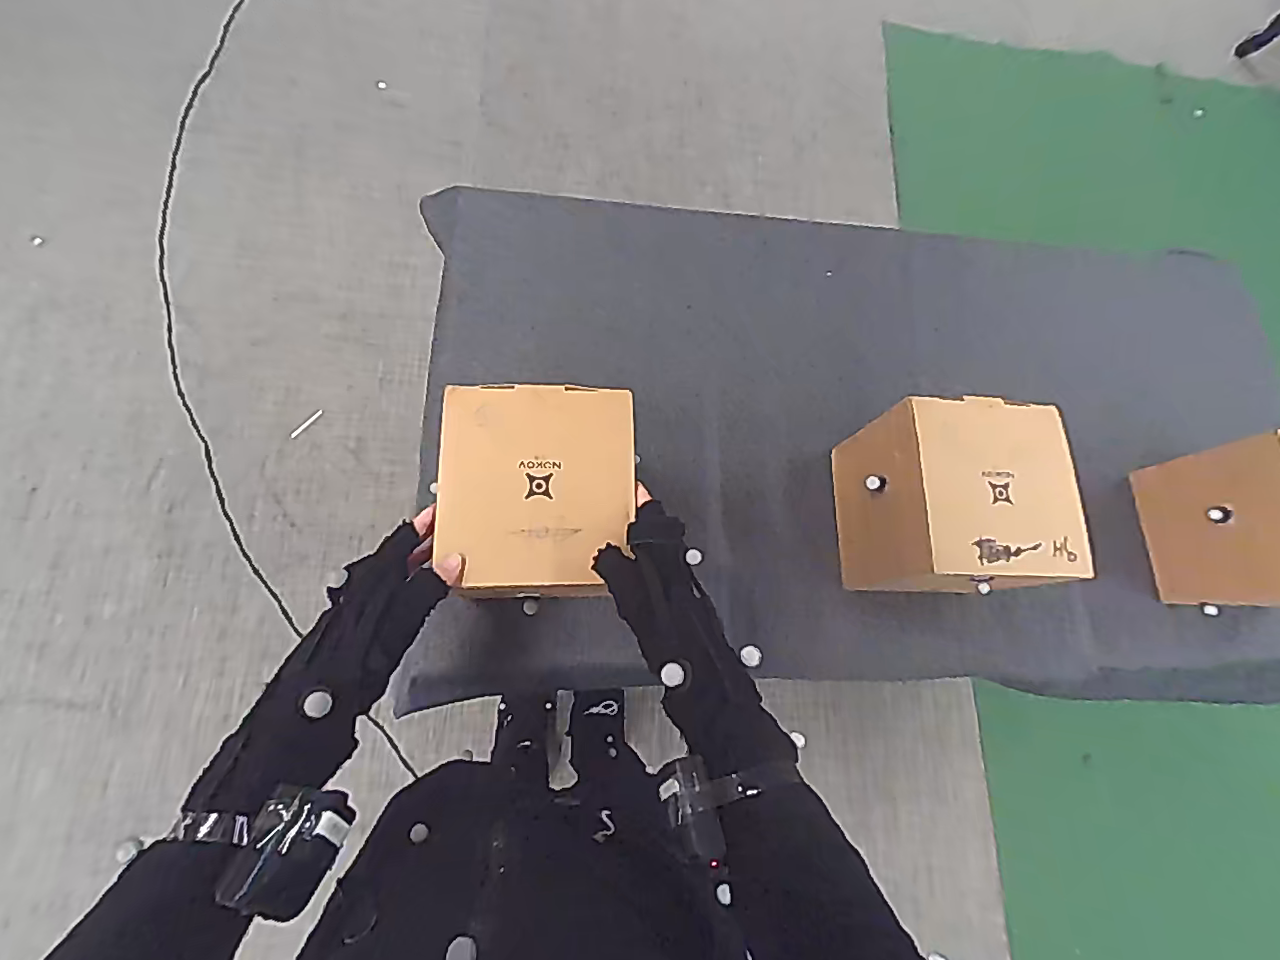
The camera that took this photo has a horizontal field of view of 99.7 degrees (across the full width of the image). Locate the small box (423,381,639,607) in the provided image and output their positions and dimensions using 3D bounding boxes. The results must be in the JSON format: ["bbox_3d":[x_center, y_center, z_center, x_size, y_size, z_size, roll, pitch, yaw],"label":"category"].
[{"bbox_3d":[-0.092,0.025,0.513,0.168,0.176,0.179,1,74,-6],"label":"small box"}]

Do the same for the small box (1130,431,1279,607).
[{"bbox_3d":[0.749,0.057,0.641,0.168,0.176,0.179,2,72,-7],"label":"small box"}]

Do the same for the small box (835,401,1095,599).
[{"bbox_3d":[0.331,0.032,0.592,0.168,0.176,0.179,2,72,-7],"label":"small box"}]
